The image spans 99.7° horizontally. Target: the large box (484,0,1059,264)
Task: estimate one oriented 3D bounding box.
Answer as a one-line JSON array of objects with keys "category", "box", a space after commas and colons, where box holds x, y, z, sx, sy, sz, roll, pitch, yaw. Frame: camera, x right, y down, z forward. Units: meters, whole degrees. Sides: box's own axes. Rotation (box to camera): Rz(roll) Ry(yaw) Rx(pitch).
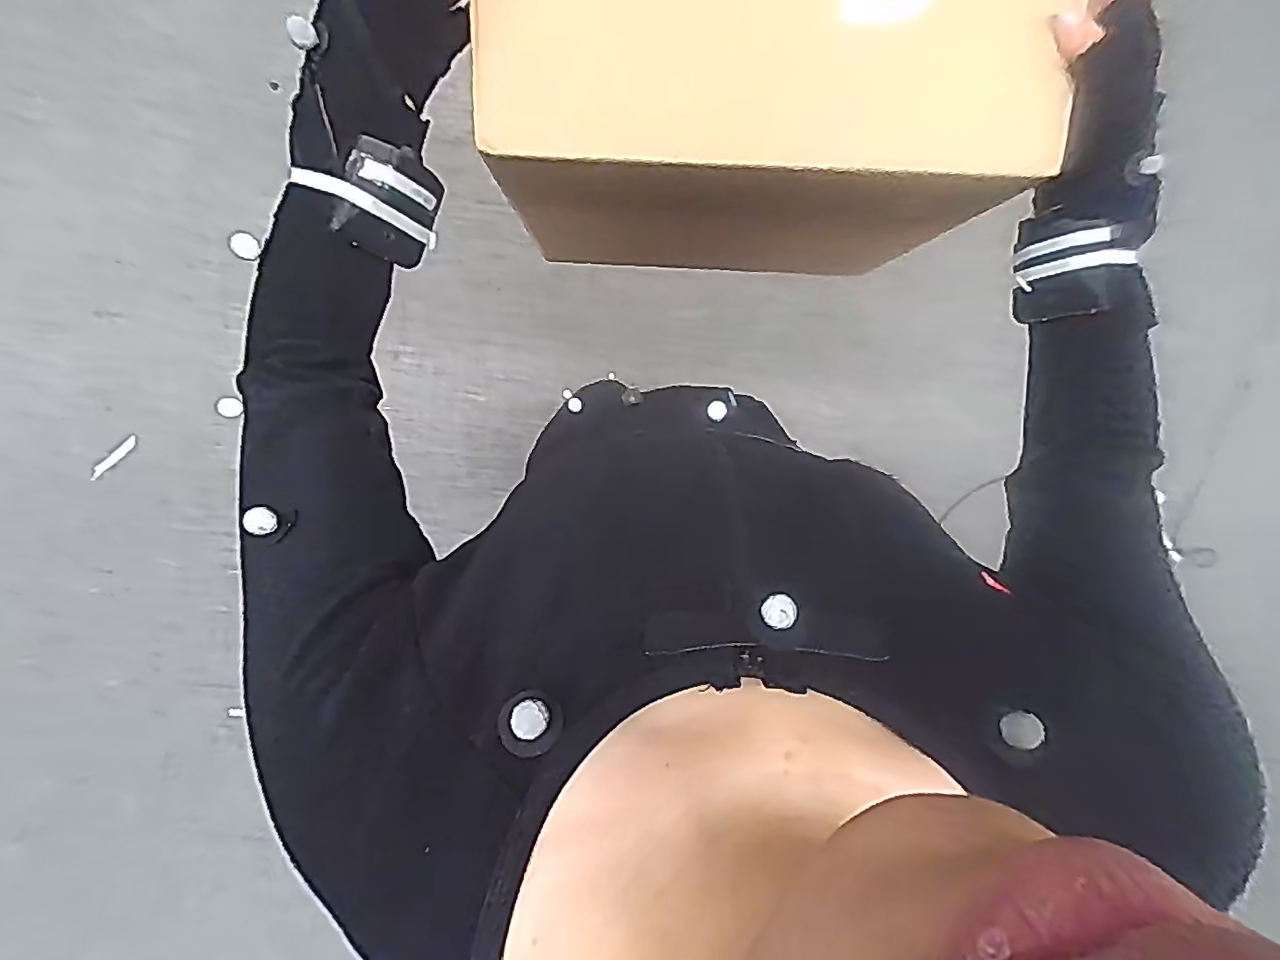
[{"category": "large box", "box": [0.086, -0.402, 0.509, 0.408, 0.320, 0.320, 1, 99, -2]}]
